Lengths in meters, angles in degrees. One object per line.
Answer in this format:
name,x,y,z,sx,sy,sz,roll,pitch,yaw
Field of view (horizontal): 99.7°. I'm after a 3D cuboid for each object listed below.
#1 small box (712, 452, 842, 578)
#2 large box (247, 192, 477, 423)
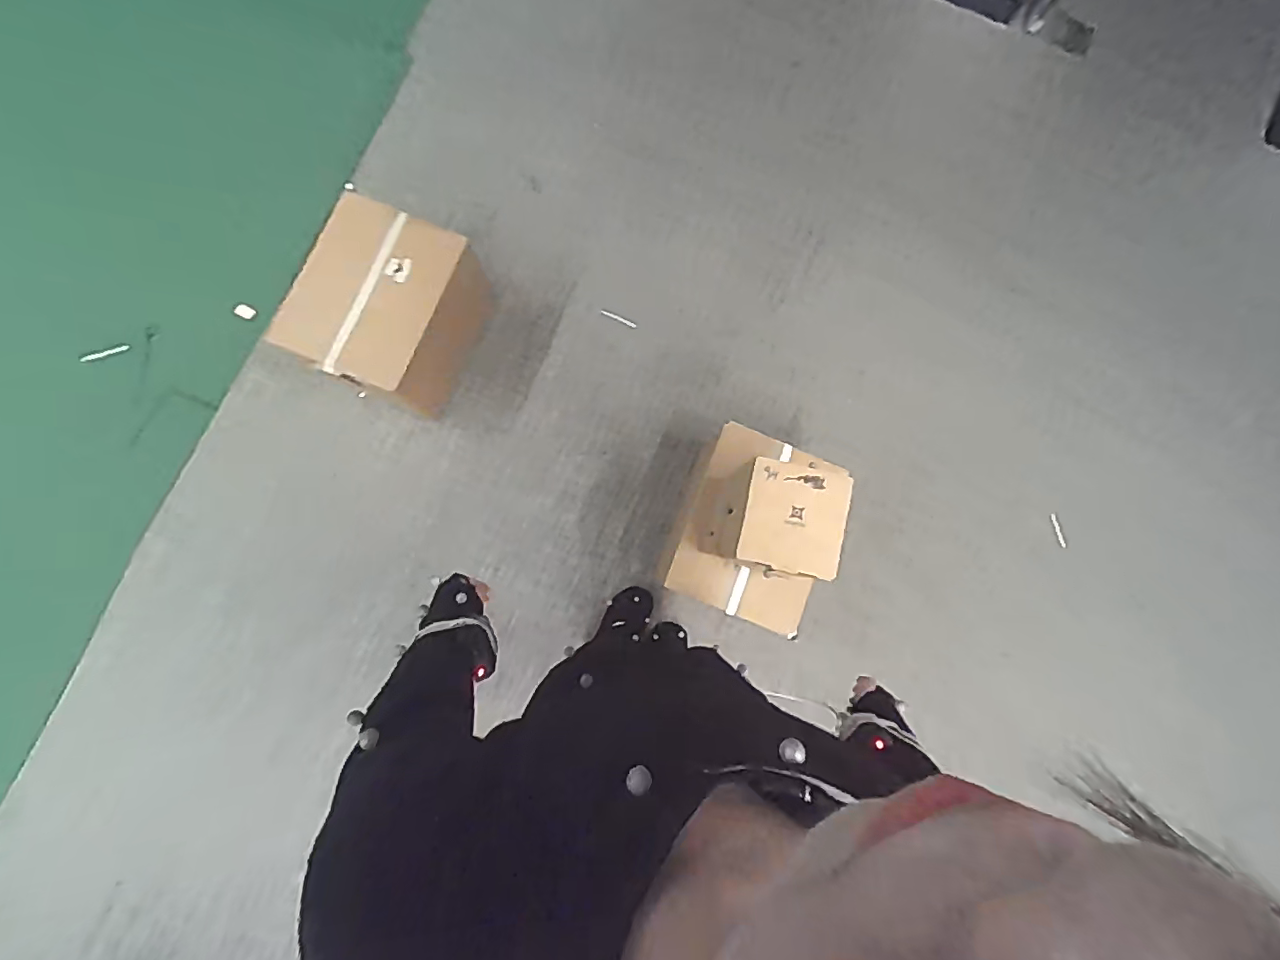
small box,0.229,0.062,0.948,0.168,0.176,0.179,12,84,-1
large box,-0.656,-0.401,1.347,0.320,0.320,0.408,21,82,-1
